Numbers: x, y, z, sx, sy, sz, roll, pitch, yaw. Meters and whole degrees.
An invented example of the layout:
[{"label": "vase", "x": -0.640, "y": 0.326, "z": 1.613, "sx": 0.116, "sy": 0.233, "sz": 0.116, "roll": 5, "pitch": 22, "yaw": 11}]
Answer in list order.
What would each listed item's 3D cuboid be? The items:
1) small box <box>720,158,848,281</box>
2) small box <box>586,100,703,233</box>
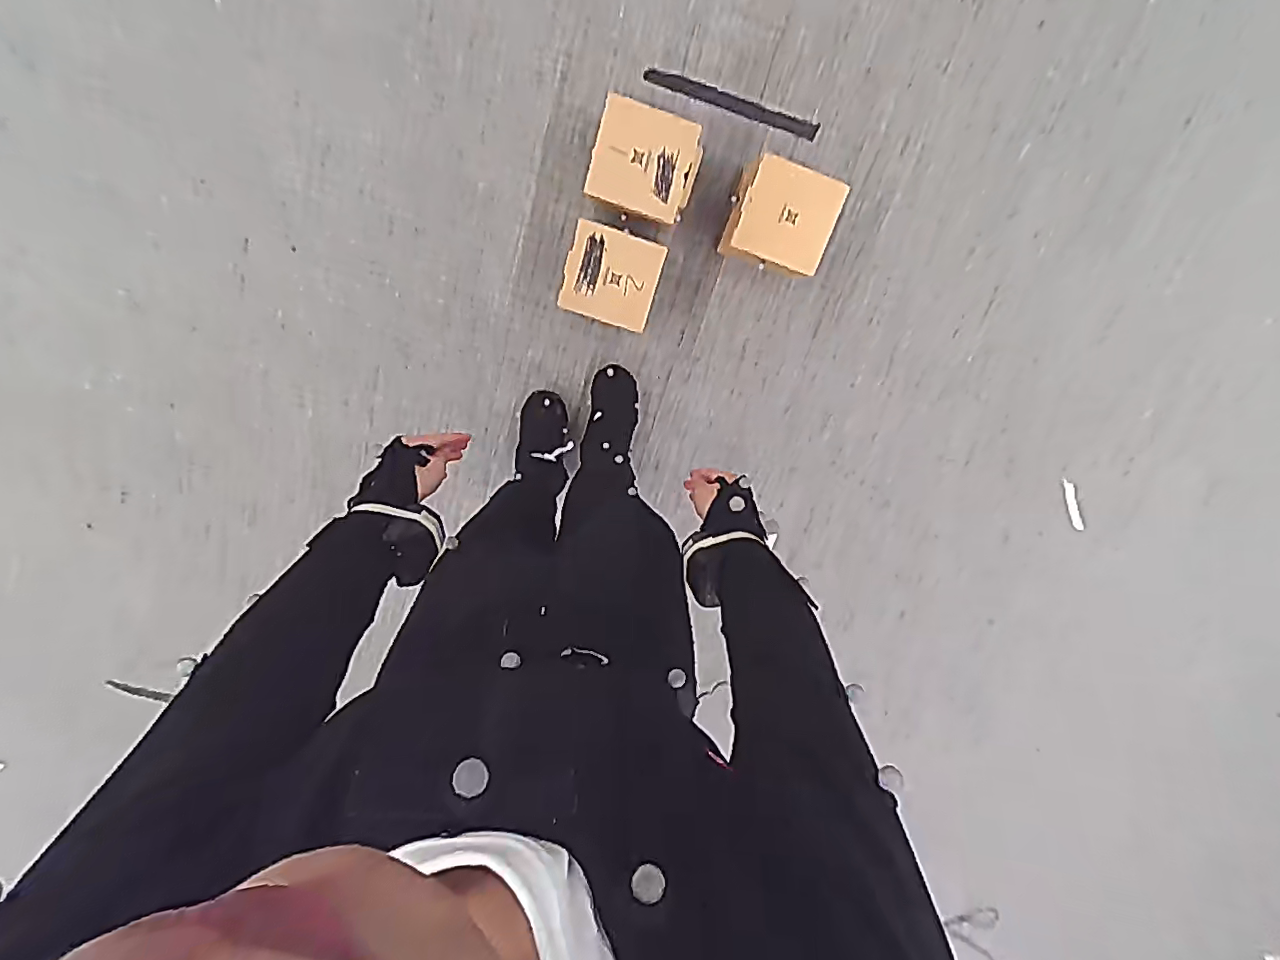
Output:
[{"label": "small box", "x": 0.277, "y": -0.511, "z": 1.084, "sx": 0.179, "sy": 0.176, "sz": 0.168, "roll": 18, "pitch": 108, "yaw": -6}, {"label": "small box", "x": 0.007, "y": -0.594, "z": 1.051, "sx": 0.179, "sy": 0.176, "sz": 0.168, "roll": 17, "pitch": 108, "yaw": -6}]
